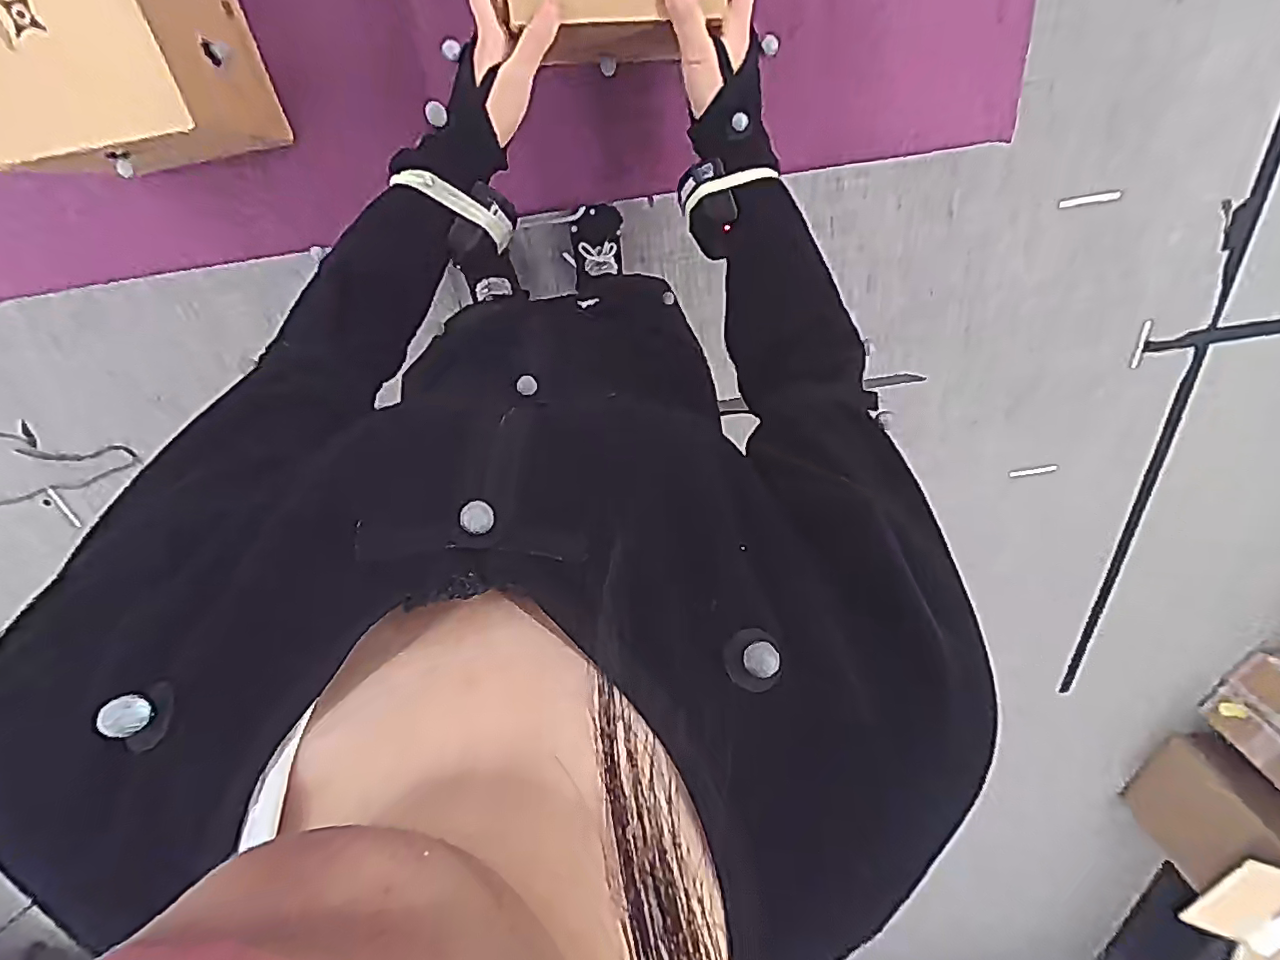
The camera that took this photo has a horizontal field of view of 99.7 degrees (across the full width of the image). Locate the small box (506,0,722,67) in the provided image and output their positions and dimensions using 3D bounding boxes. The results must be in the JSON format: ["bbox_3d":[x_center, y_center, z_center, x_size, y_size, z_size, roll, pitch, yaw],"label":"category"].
[{"bbox_3d":[-0.027,-0.459,0.438,0.168,0.176,0.179,-4,121,-3],"label":"small box"}]

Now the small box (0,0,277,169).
[{"bbox_3d":[-0.447,-0.368,0.452,0.179,0.176,0.168,-10,120,1],"label":"small box"}]
